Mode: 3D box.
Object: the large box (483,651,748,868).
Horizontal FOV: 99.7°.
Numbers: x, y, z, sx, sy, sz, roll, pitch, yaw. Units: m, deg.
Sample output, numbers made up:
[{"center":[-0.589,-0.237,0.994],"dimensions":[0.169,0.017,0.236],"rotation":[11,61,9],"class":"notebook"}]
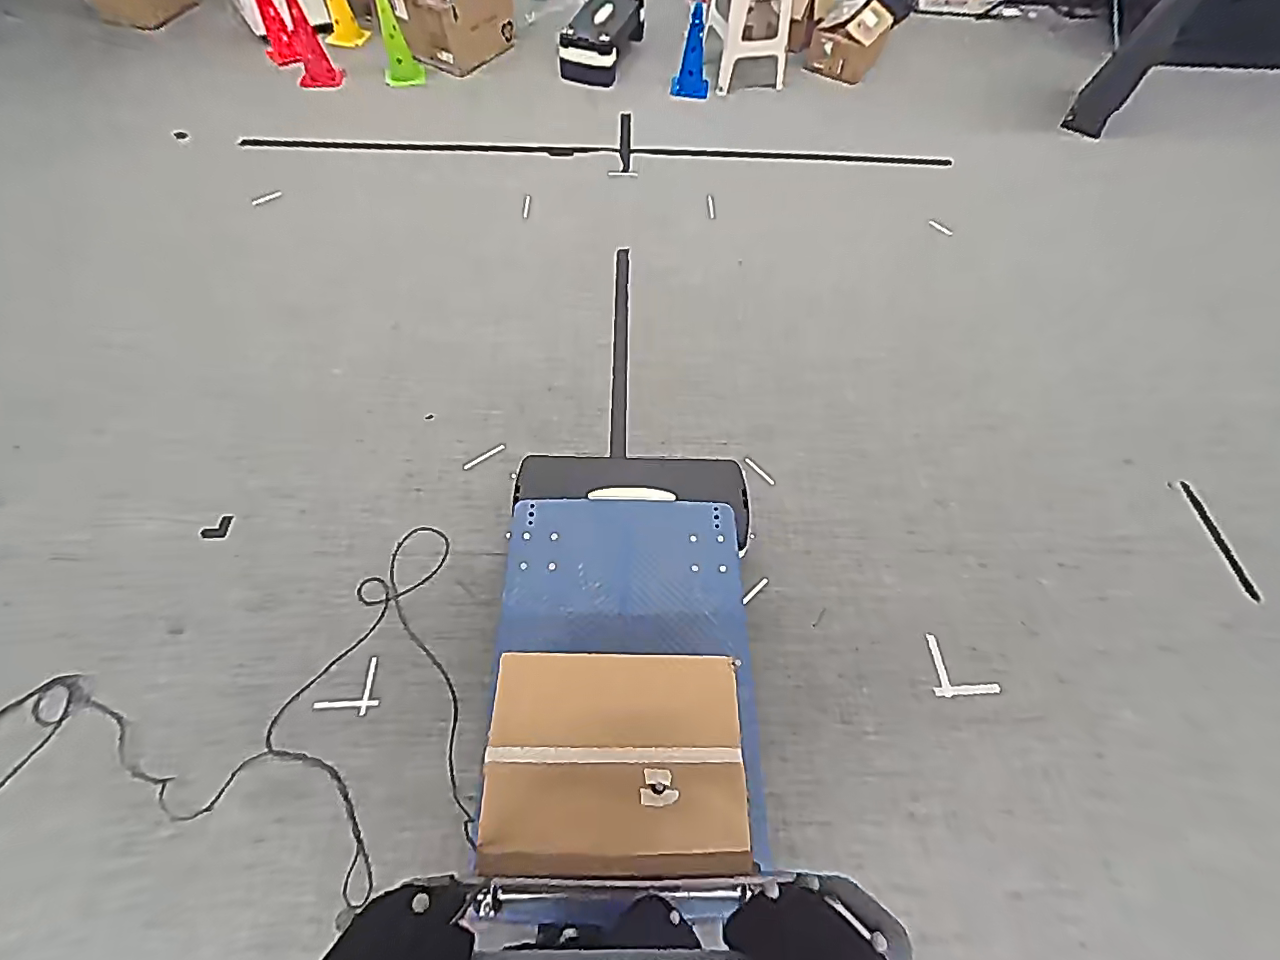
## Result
[{"center":[-0.047,0.516,1.005],"dimensions":[0.408,0.320,0.320],"rotation":[2,59,-3],"class":"large box"}]
